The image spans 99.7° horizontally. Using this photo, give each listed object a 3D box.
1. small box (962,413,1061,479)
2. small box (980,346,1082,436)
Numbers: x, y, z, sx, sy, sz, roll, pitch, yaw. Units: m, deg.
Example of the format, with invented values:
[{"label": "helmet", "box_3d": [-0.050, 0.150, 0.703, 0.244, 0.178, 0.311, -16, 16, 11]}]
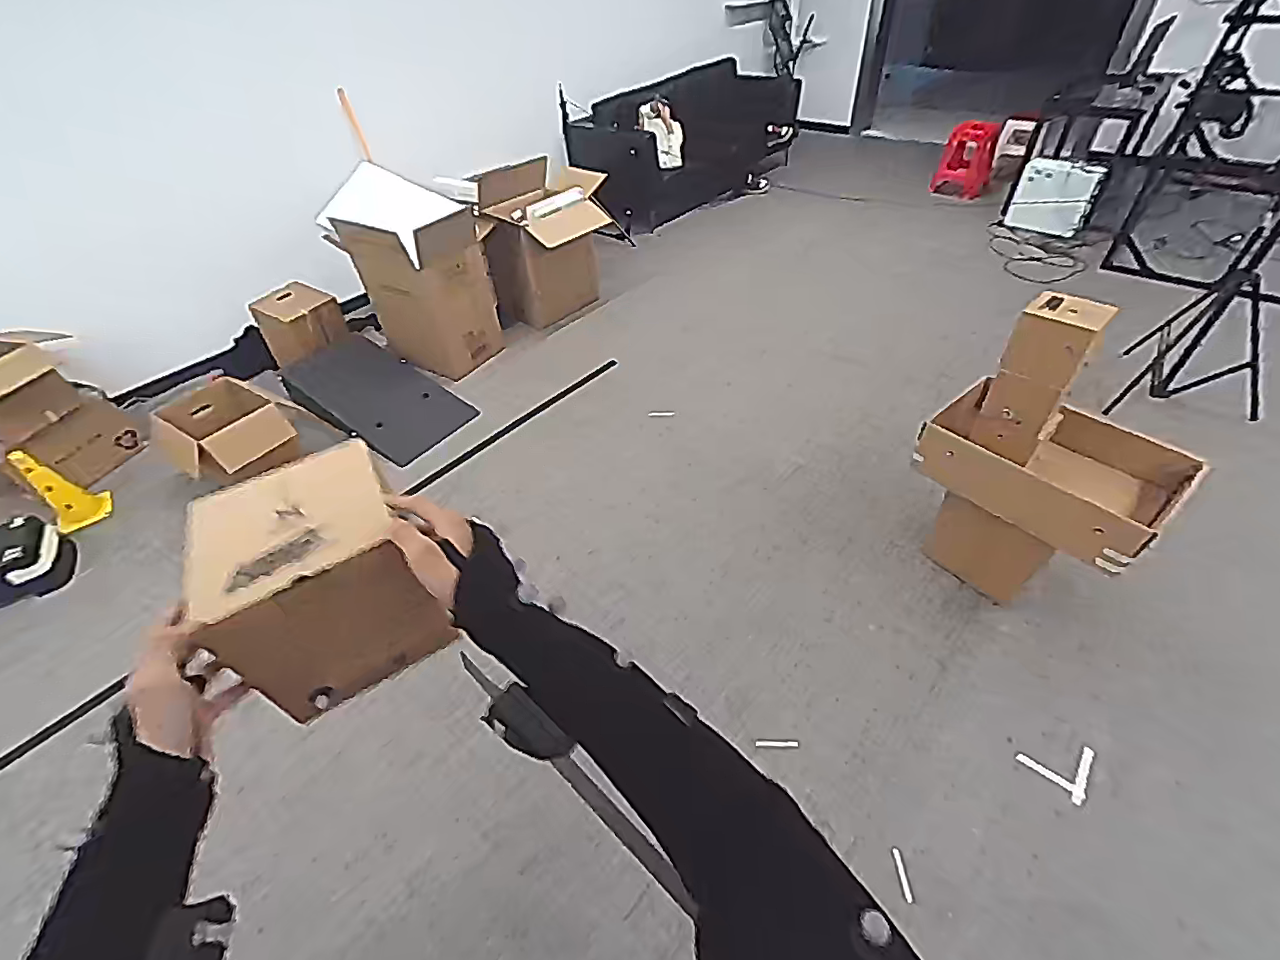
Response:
[{"label": "small box", "box_3d": [1.139, -0.134, 1.673, 0.168, 0.176, 0.179, -34, 52, -27]}, {"label": "small box", "box_3d": [1.124, -0.257, 1.565, 0.179, 0.176, 0.168, -35, 51, -29]}]
